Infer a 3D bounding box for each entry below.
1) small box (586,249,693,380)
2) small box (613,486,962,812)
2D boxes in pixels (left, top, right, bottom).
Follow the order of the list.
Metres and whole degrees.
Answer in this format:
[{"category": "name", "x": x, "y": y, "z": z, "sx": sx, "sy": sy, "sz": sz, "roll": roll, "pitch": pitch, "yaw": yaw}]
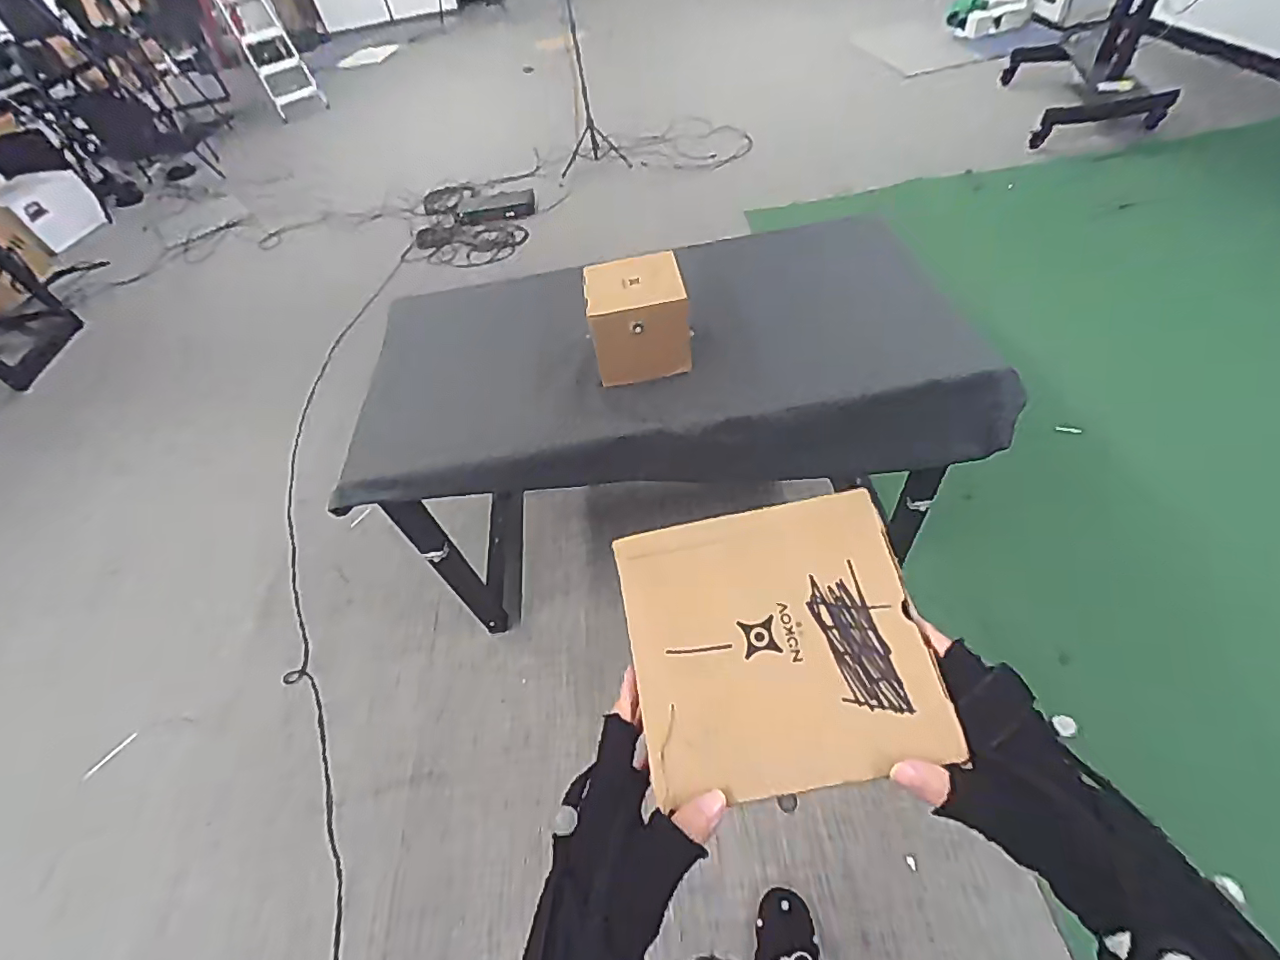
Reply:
[{"category": "small box", "x": 0.001, "y": -0.310, "z": 1.035, "sx": 0.179, "sy": 0.176, "sz": 0.168, "roll": -9, "pitch": 52, "yaw": 1}, {"category": "small box", "x": 0.086, "y": 0.126, "z": 0.404, "sx": 0.179, "sy": 0.176, "sz": 0.168, "roll": -13, "pitch": 64, "yaw": -1}]
